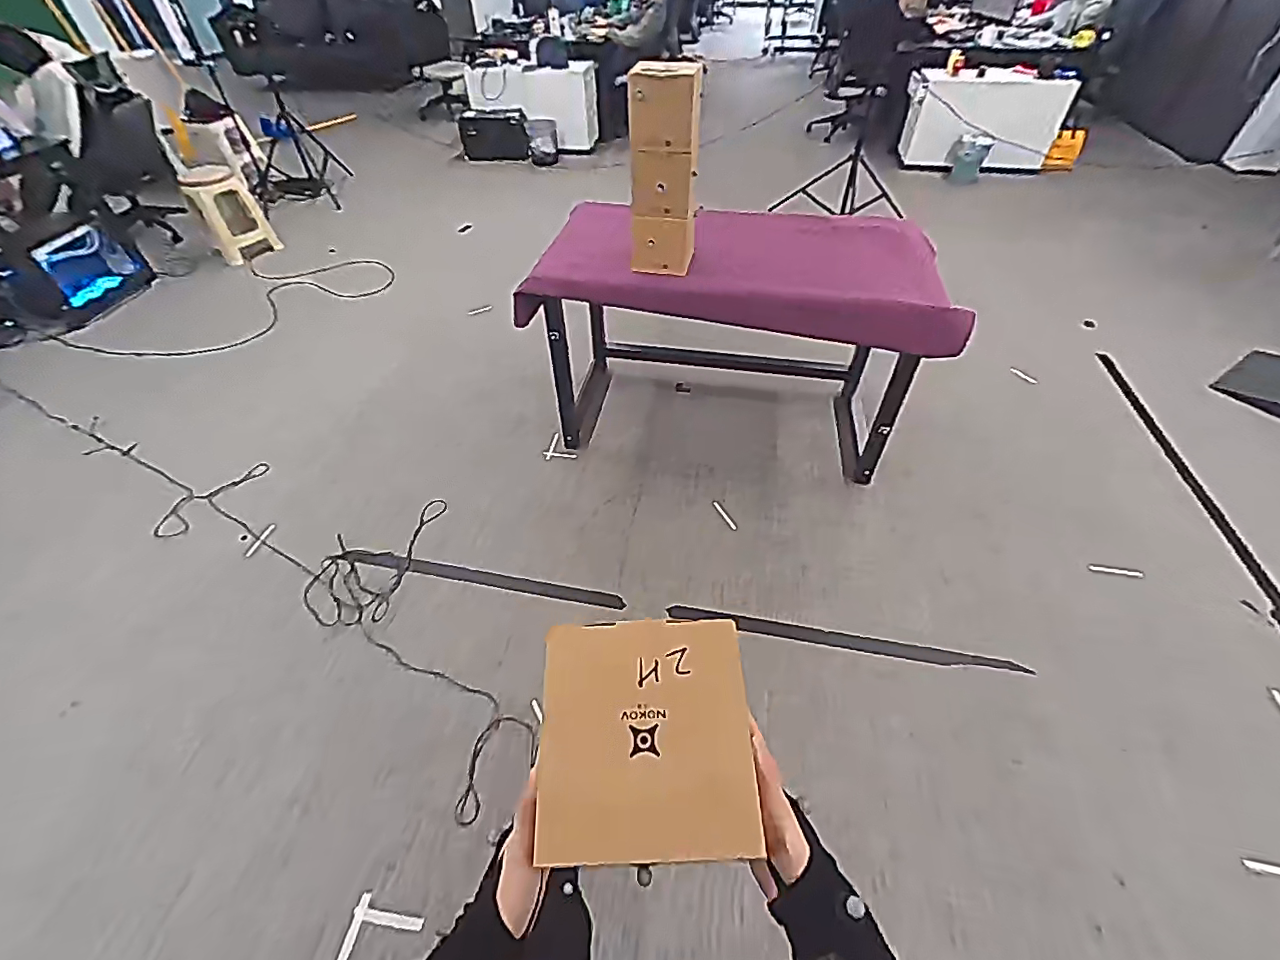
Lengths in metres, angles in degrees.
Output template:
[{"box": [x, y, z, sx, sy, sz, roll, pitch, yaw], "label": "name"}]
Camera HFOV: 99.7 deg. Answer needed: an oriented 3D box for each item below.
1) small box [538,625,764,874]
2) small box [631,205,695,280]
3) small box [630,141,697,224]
[{"box": [0.009, 0.247, 0.495, 0.168, 0.176, 0.179, -2, 55, 0], "label": "small box"}, {"box": [0.071, -0.729, 1.656, 0.168, 0.176, 0.179, 8, 46, 8], "label": "small box"}, {"box": [0.069, -0.847, 1.543, 0.168, 0.176, 0.179, 7, 47, 7], "label": "small box"}]
